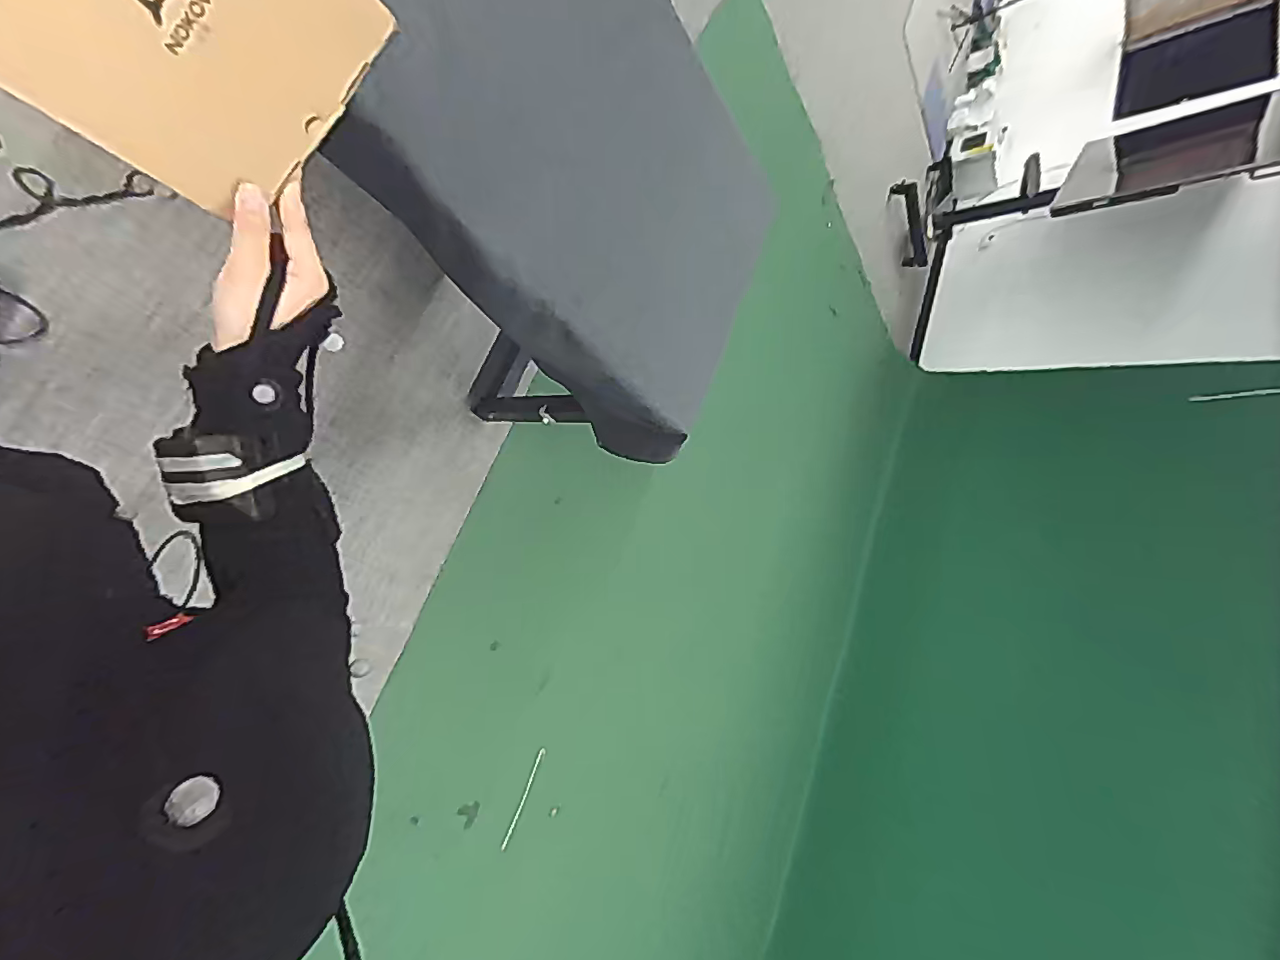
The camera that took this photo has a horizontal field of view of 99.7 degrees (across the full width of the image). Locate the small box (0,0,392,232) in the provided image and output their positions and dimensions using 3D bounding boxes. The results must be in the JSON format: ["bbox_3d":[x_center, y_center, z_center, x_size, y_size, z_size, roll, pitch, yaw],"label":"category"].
[{"bbox_3d":[-0.291,-0.289,0.309,0.168,0.176,0.179,-48,149,9],"label":"small box"}]
